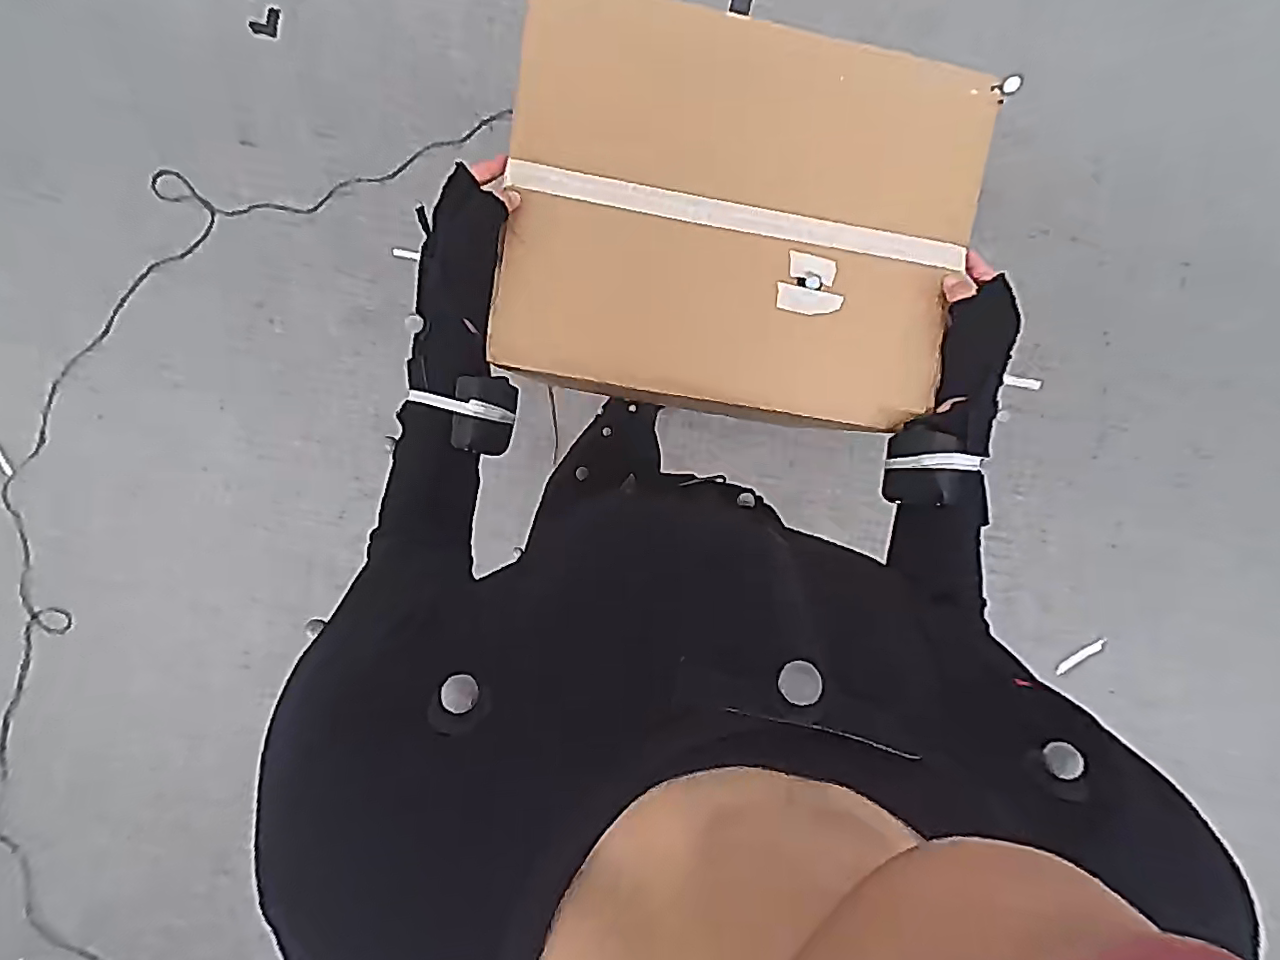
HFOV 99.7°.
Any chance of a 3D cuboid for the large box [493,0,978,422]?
[{"bbox_3d":[0.071,-0.250,0.624,0.408,0.320,0.320,9,98,-6],"label":"large box"}]
